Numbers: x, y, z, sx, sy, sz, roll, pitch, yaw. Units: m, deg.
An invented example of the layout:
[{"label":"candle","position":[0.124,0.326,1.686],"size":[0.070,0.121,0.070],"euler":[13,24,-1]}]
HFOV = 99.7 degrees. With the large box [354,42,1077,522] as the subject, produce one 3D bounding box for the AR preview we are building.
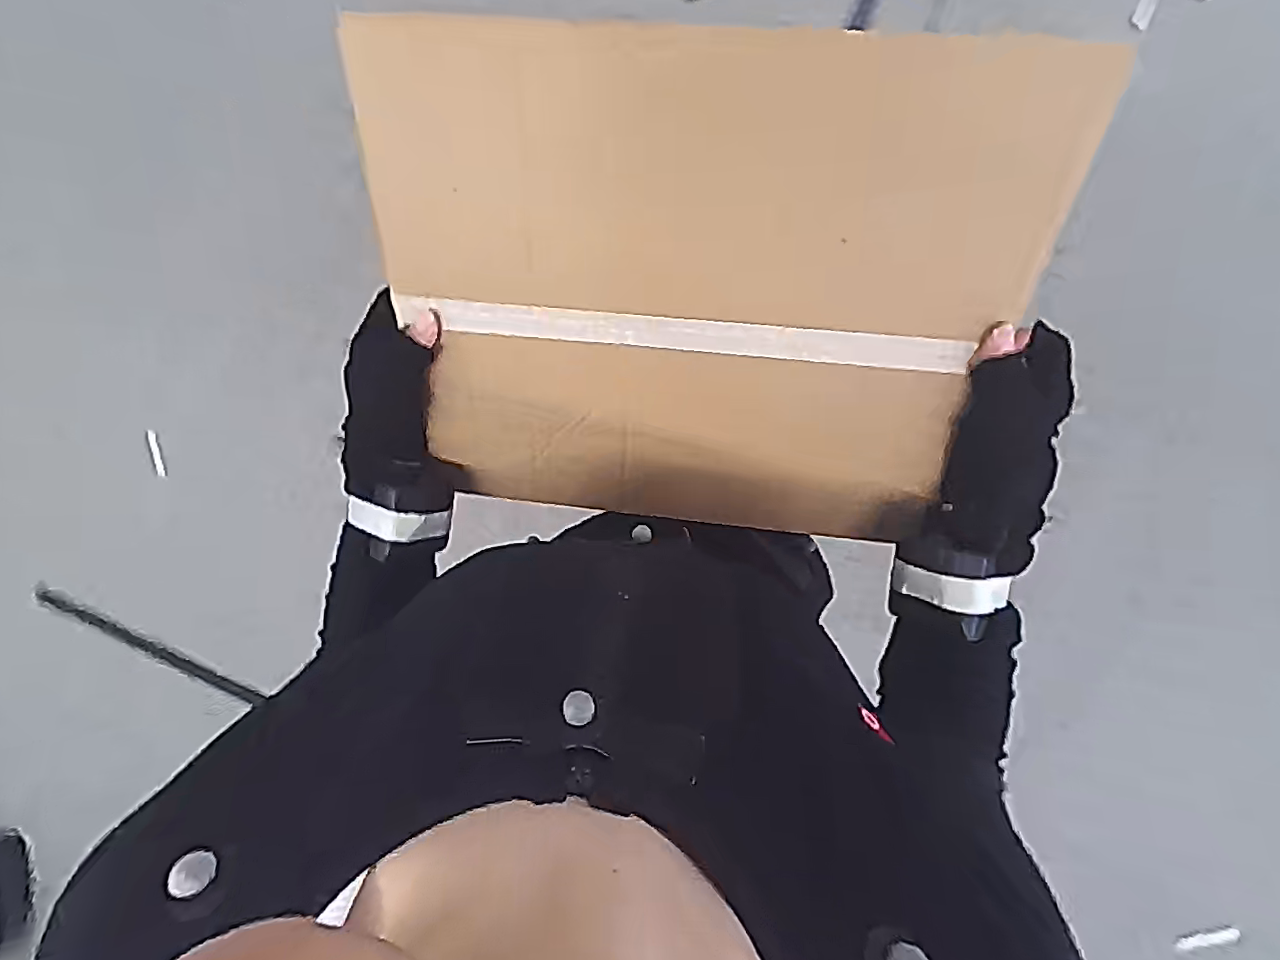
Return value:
[{"label":"large box","position":[0.046,-0.189,0.499],"size":[0.408,0.320,0.320],"euler":[6,124,5]}]
